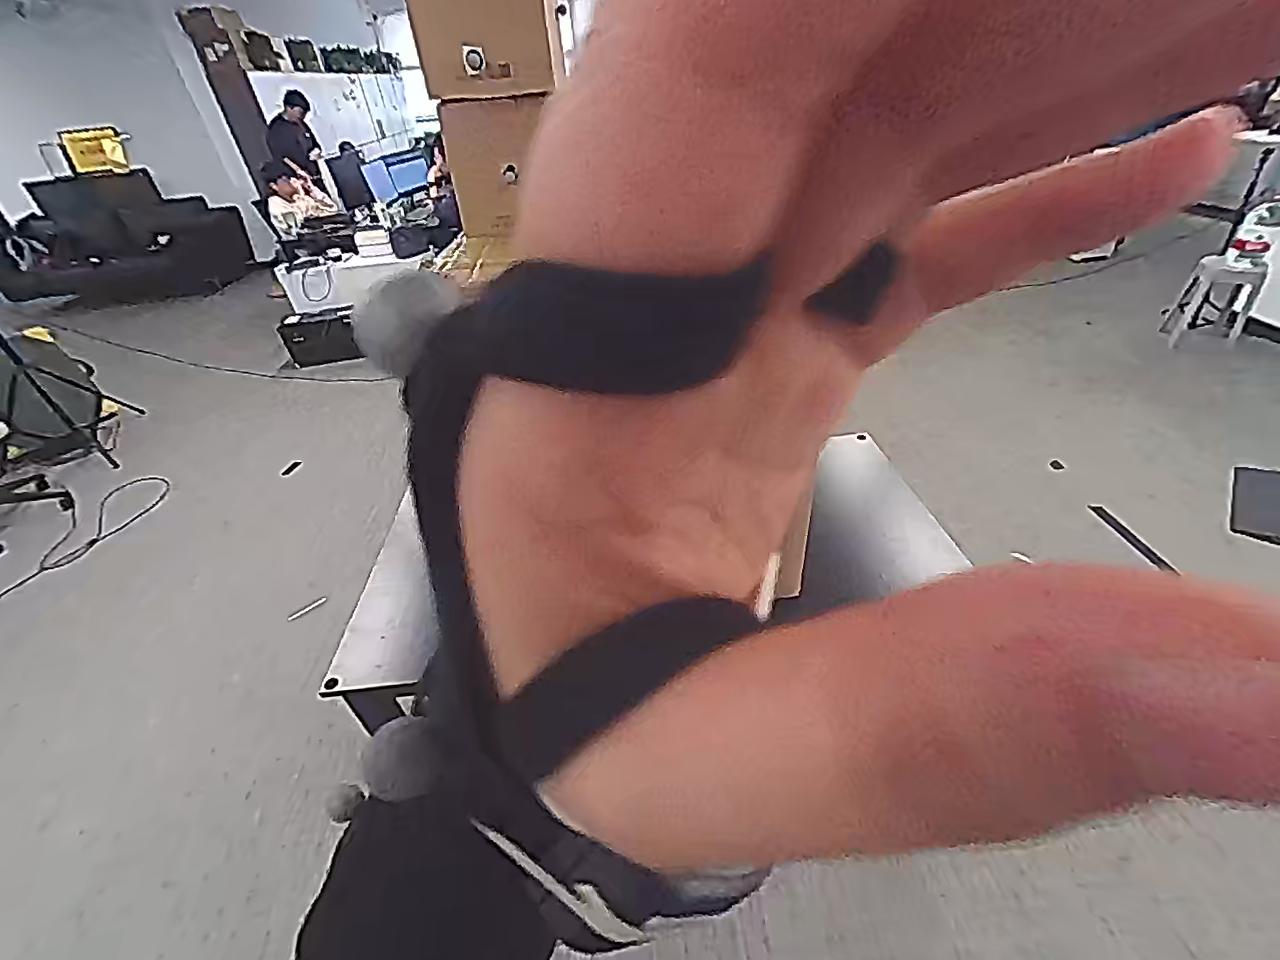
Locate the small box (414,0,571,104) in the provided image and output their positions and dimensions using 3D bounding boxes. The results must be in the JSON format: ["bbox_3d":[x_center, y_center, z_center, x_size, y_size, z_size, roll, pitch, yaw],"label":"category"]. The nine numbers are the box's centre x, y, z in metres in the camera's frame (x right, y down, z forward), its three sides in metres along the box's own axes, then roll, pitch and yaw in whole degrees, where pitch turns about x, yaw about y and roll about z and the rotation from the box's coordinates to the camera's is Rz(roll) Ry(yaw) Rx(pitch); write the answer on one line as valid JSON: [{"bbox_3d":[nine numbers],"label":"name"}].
[{"bbox_3d":[-0.186,-0.594,0.700,0.168,0.176,0.179,-5,37,1],"label":"small box"}]

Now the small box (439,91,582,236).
[{"bbox_3d":[-0.179,-0.472,0.810,0.168,0.176,0.179,-5,37,-1],"label":"small box"}]
